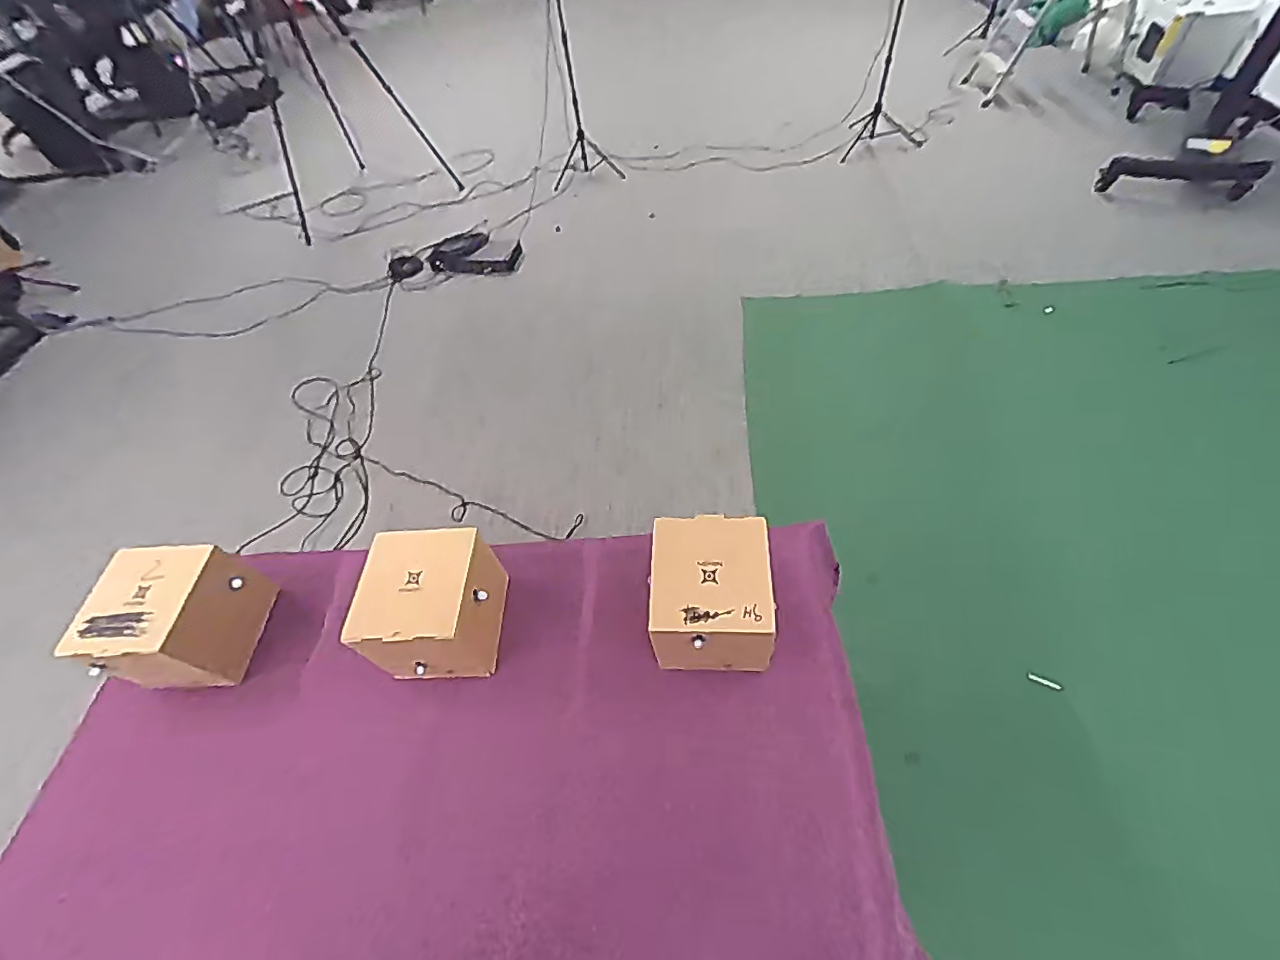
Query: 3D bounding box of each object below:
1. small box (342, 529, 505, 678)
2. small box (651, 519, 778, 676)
[{"bbox_3d":[-0.319,0.195,0.841,0.168,0.176,0.179,-3,54,4],"label":"small box"},{"bbox_3d":[0.108,0.174,0.803,0.168,0.176,0.179,-1,54,8],"label":"small box"}]
